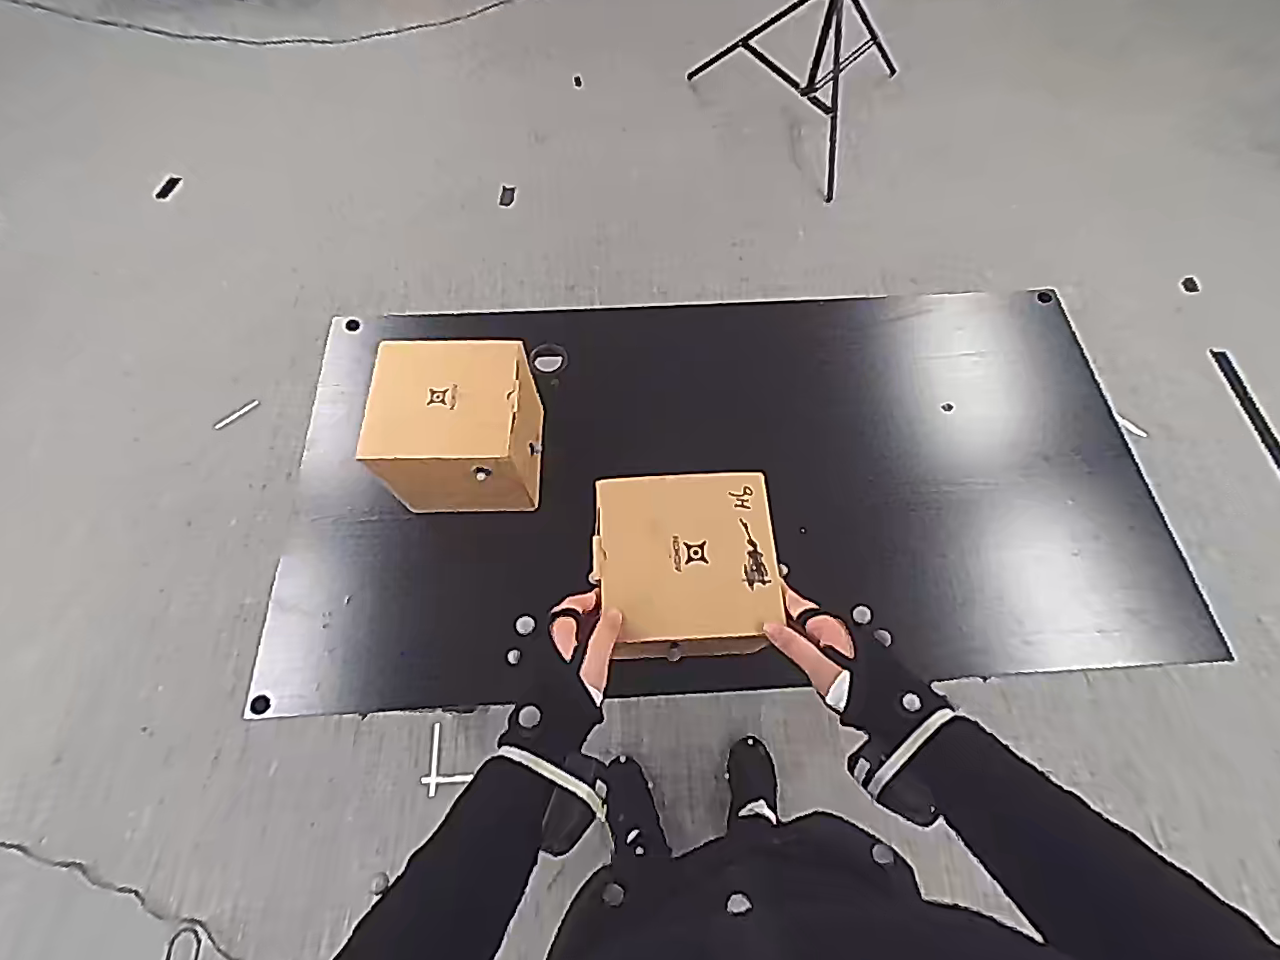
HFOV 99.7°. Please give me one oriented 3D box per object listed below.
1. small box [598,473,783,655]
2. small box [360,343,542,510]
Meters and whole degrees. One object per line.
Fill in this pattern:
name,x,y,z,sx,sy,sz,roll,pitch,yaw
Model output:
small box,0.047,0.103,0.613,0.179,0.176,0.168,-2,67,-1
small box,-0.234,-0.064,0.719,0.179,0.176,0.168,-1,66,-2
